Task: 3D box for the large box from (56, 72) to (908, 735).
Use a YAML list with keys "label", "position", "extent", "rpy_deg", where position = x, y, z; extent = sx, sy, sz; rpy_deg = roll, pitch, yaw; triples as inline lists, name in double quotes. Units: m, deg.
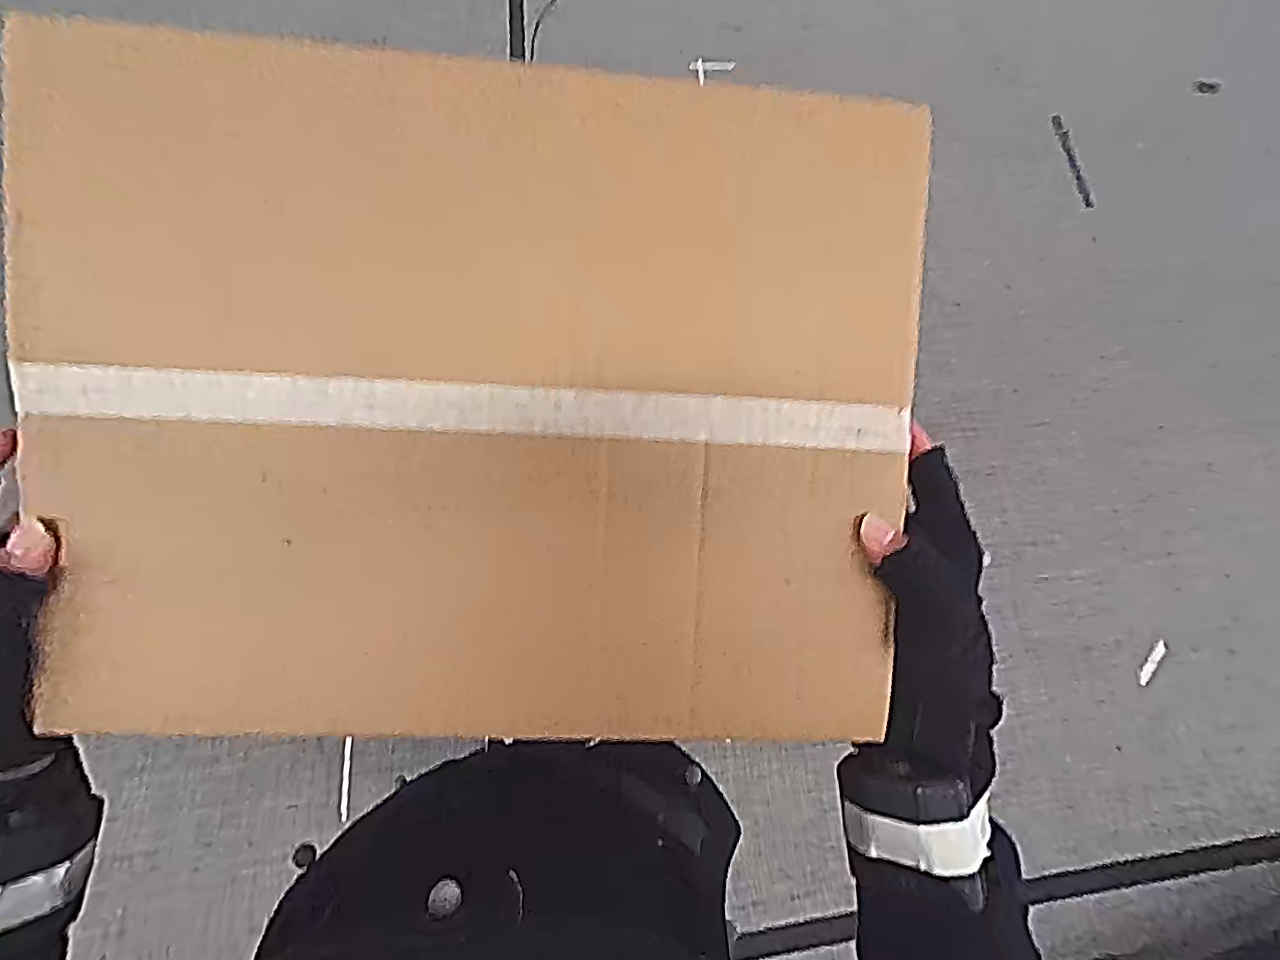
- label: "large box"
  position: [-0.080, -0.034, 0.411]
  extent: [0.408, 0.320, 0.320]
  rpy_deg: [2, 94, -4]
